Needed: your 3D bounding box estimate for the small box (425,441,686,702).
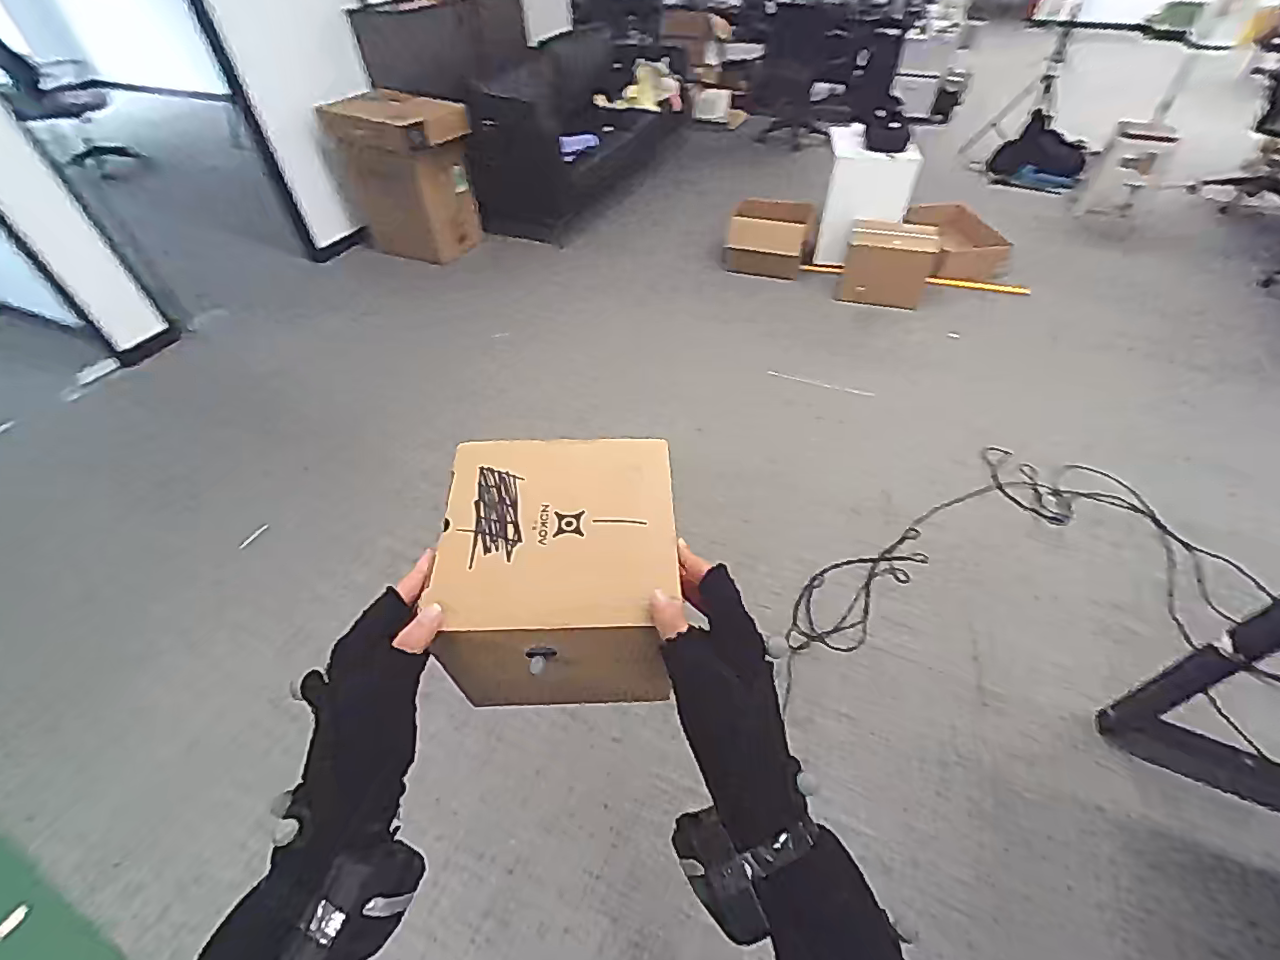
[{"bbox_3d":[-0.056,0.083,0.465,0.179,0.176,0.168,0,52,-1],"label":"small box"}]
